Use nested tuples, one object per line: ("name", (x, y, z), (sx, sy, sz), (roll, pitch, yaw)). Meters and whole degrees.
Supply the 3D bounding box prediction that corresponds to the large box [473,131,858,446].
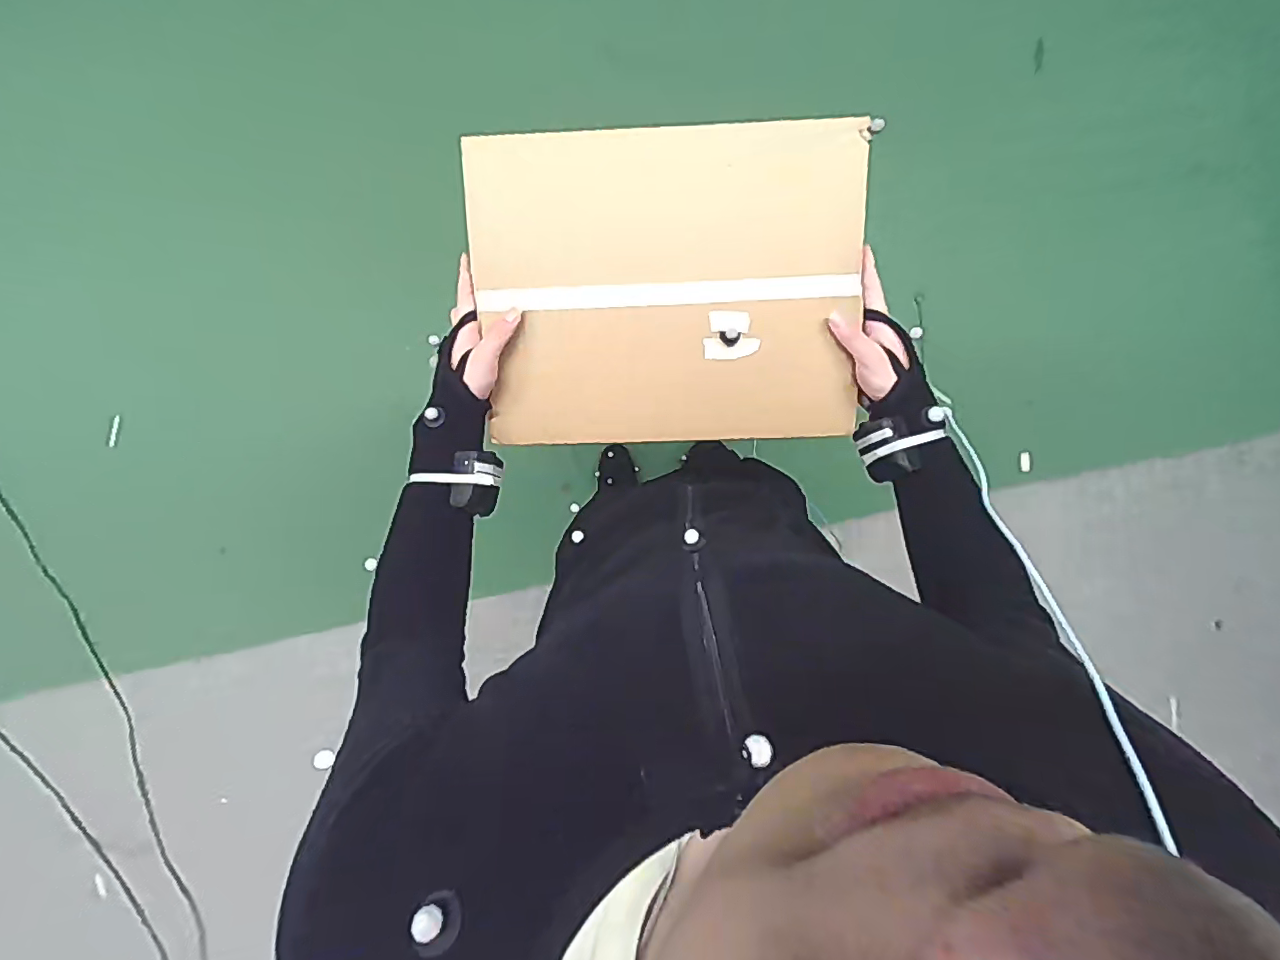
("large box", (0.031, -0.226, 0.728), (0.408, 0.320, 0.320), (-1, 102, 2))
